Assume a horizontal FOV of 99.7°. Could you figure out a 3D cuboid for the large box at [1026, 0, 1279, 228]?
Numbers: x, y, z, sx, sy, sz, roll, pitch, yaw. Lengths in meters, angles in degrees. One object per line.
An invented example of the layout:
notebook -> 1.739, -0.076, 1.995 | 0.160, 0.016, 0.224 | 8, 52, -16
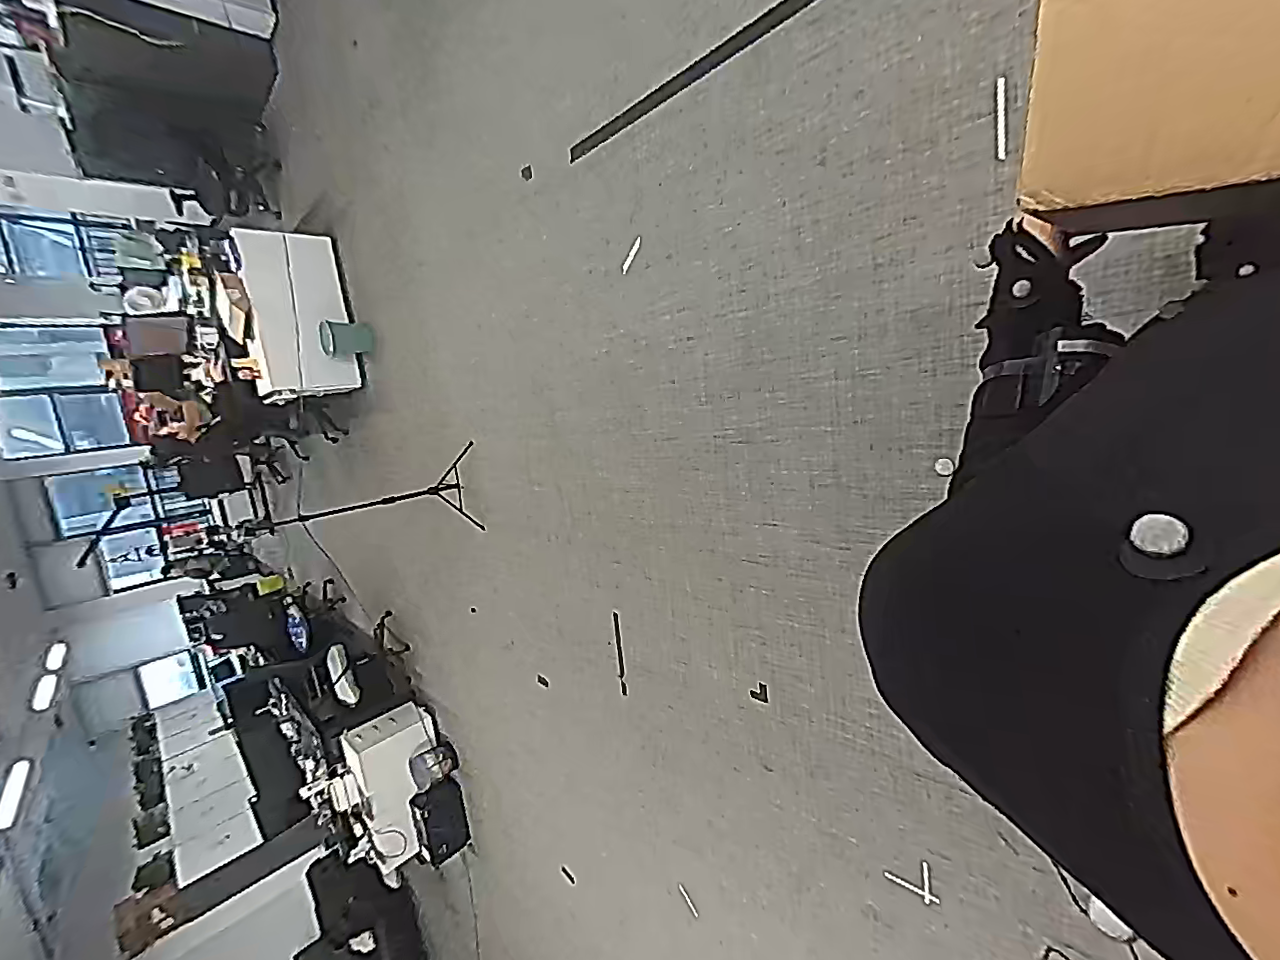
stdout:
large box -> 0.419, -0.303, 0.207 | 0.408, 0.320, 0.320 | 9, 114, 39
